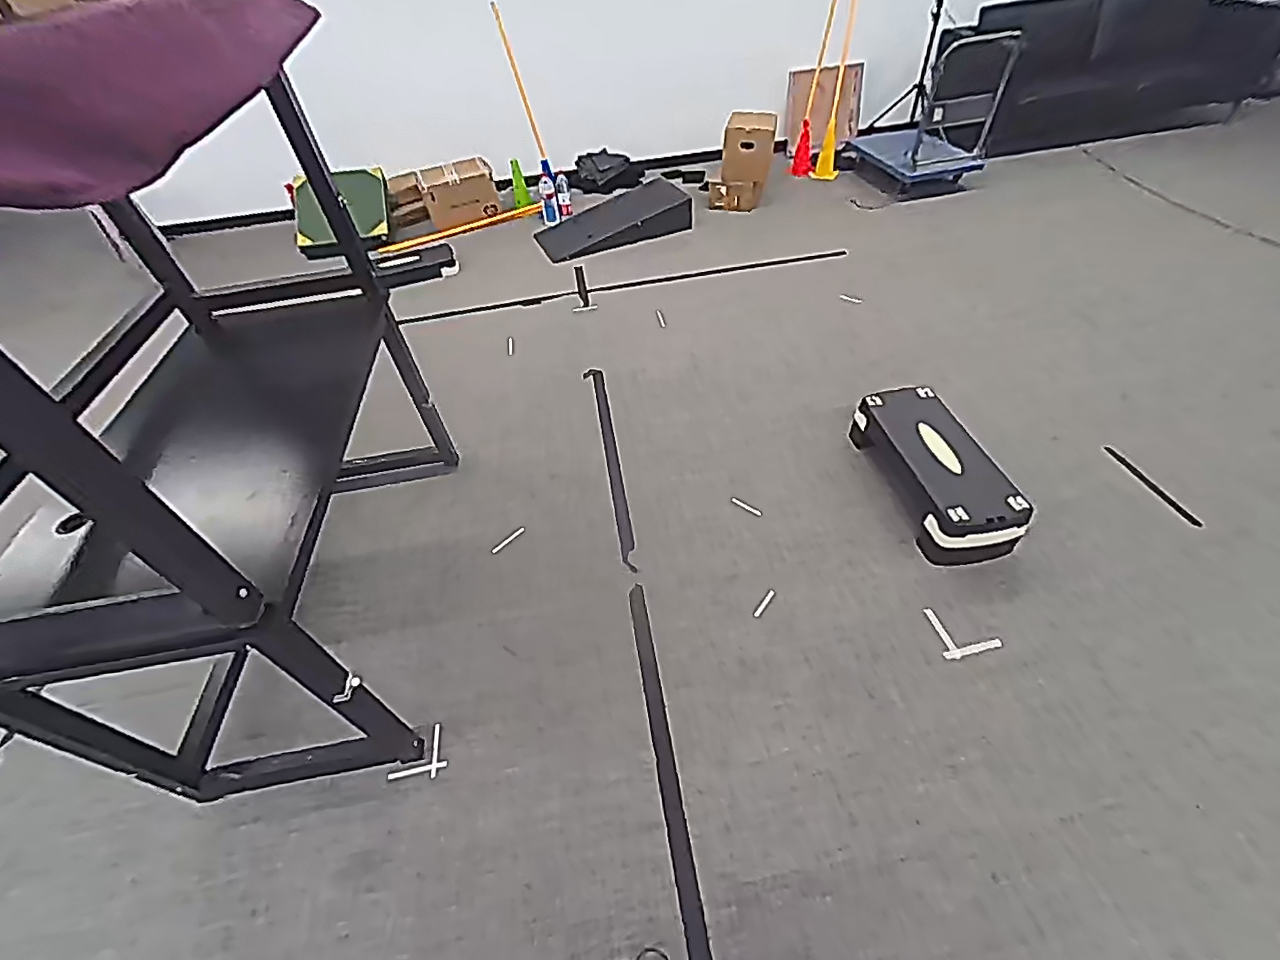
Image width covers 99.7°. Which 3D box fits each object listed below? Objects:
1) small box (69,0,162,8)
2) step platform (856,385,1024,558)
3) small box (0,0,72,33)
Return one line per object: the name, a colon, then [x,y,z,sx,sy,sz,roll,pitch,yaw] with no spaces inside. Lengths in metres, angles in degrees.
small box: [-0.973,-0.981,0.982,0.168,0.176,0.179,-8,46,0]
step platform: [1.013,-0.063,1.895,0.286,0.204,0.684,-6,45,1]
small box: [-0.959,-0.727,0.742,0.168,0.176,0.179,-14,47,-6]
